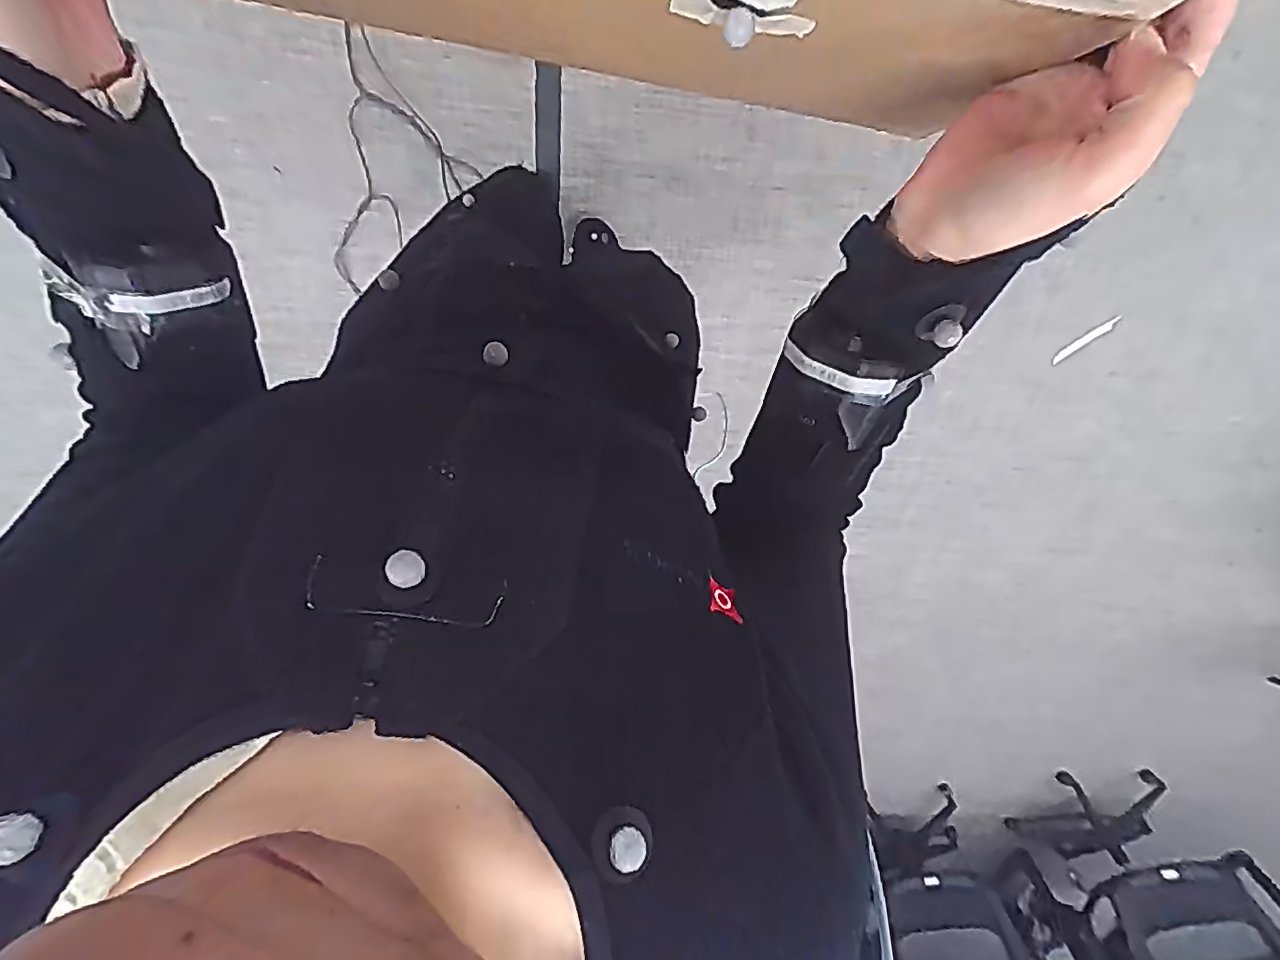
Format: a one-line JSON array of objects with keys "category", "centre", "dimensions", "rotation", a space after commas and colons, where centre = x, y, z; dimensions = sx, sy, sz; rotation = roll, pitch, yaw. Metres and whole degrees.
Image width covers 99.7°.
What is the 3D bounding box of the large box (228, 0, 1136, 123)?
[{"category": "large box", "centre": [-0.005, -0.330, 0.115], "dimensions": [0.408, 0.320, 0.320], "rotation": [6, 108, -6]}]
